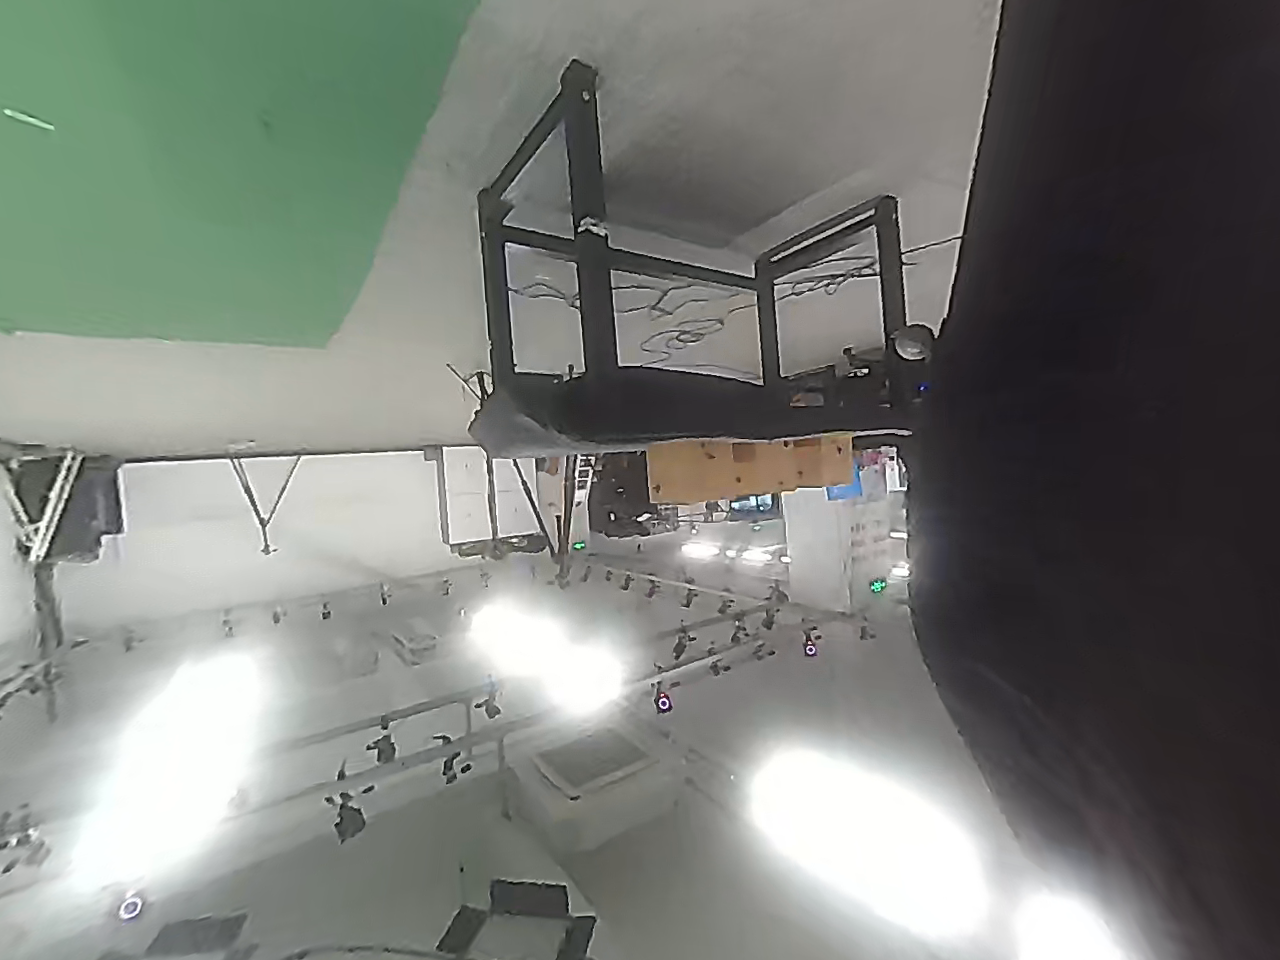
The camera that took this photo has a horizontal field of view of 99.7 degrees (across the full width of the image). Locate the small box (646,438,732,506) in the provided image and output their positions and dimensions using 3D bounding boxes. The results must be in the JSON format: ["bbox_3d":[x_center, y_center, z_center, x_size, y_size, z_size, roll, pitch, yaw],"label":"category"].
[{"bbox_3d":[0.128,-0.022,1.460,0.168,0.176,0.179,-6,-178,-34],"label":"small box"}]

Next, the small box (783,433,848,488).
[{"bbox_3d":[0.559,-0.062,1.768,0.168,0.176,0.179,-4,-178,-35],"label":"small box"}]

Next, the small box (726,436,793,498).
[{"bbox_3d":[0.327,-0.041,1.598,0.168,0.176,0.179,-5,-178,-36],"label":"small box"}]
